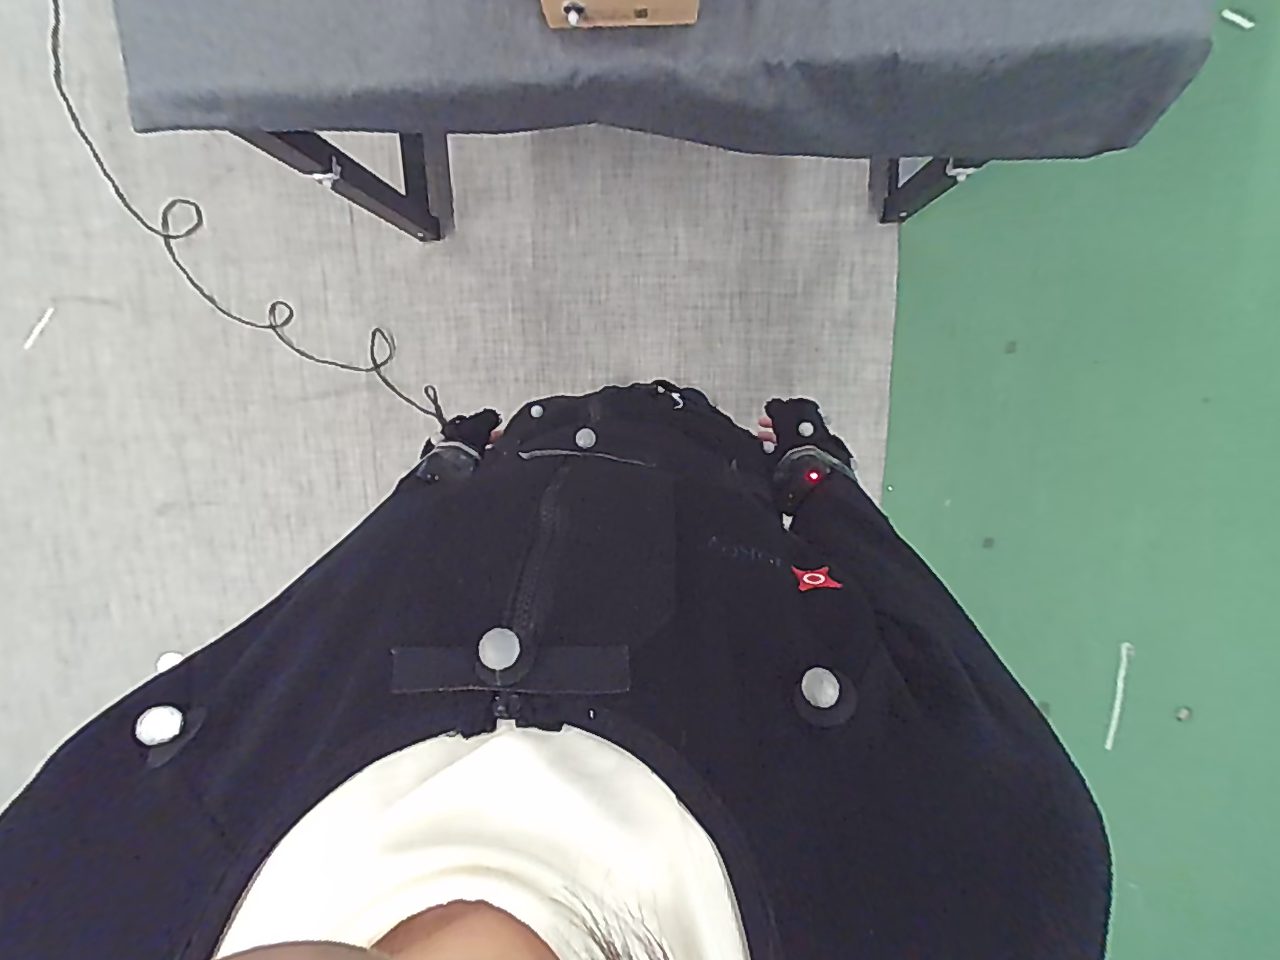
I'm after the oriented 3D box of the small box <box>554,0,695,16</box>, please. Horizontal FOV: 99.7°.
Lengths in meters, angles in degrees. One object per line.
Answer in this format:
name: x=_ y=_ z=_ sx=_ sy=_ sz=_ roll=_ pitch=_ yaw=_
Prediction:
small box: x=-0.022 y=-0.590 z=0.517 sx=0.168 sy=0.176 sz=0.179 roll=0 pitch=98 yaw=2
